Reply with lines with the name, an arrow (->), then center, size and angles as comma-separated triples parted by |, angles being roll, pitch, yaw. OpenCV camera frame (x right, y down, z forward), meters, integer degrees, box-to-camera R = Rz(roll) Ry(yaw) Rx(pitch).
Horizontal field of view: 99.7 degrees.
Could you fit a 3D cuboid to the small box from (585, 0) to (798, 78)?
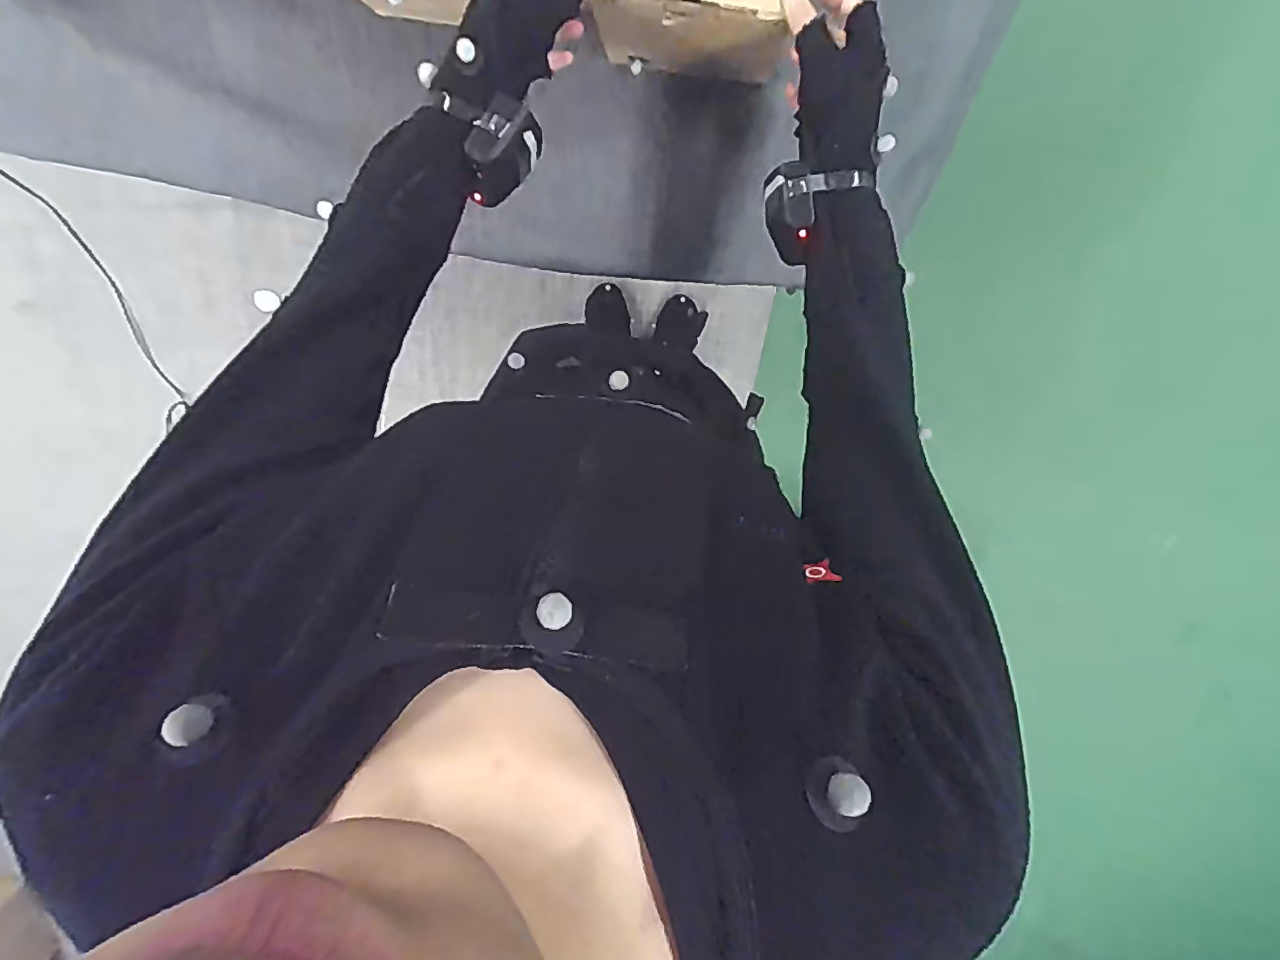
small box -> 0.053, -0.465, 0.448 | 0.168, 0.176, 0.179 | 8, 112, 0
